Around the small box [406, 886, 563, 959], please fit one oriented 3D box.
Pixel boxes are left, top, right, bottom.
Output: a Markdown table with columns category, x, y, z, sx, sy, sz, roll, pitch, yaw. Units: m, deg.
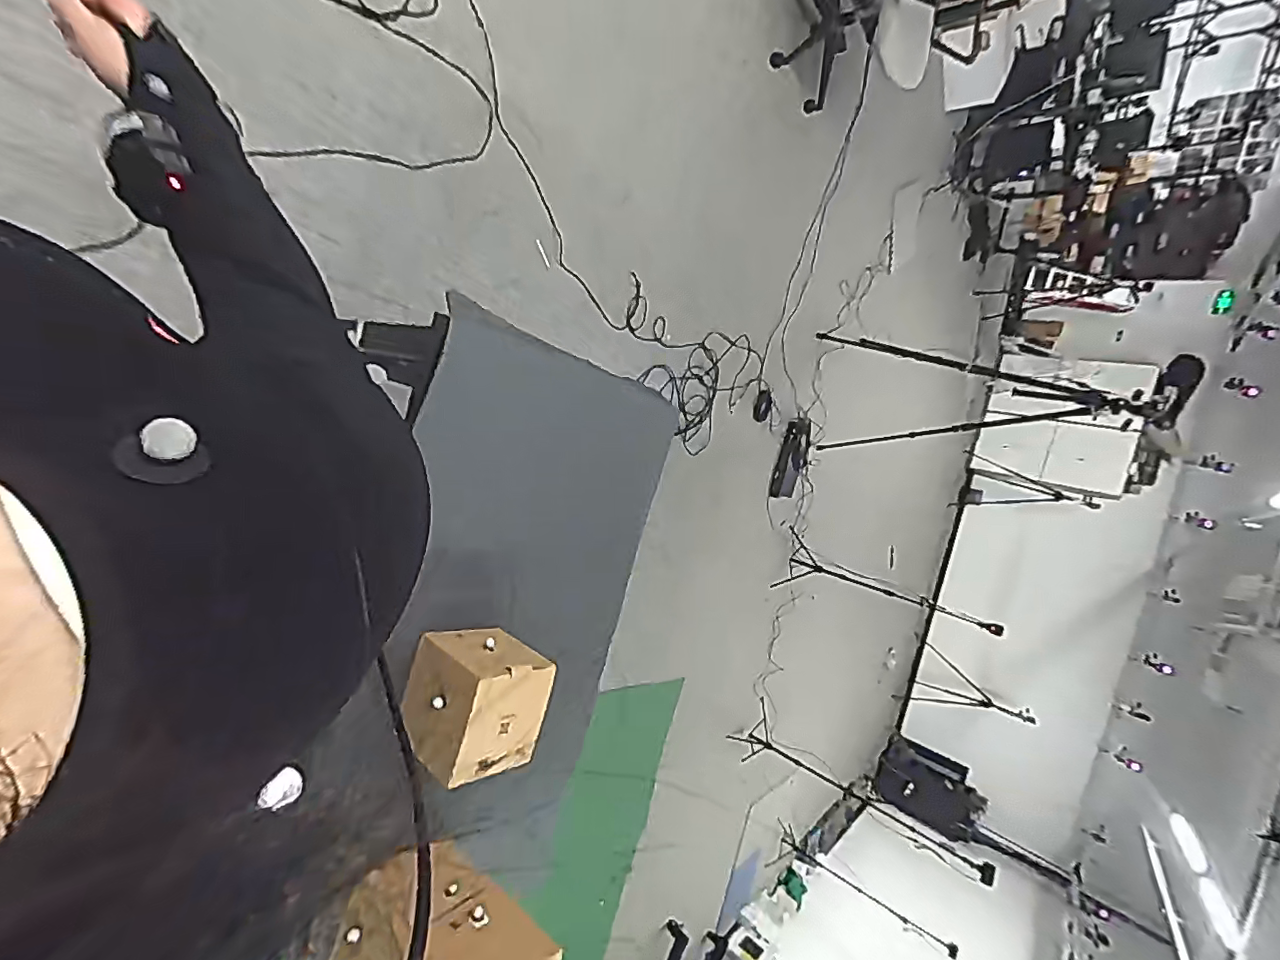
| category | x | y | z | sx | sy | sz | roll | pitch | yaw |
| --- | --- | --- | --- | --- | --- | --- | --- | --- | --- |
| small box | -0.246 | 0.777 | 0.814 | 0.168 | 0.176 | 0.179 | 9 | 94 | -55 |

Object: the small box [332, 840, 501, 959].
| category | x | y | z | sx | sy | sz | roll | pitch | yaw |
| --- | --- | --- | --- | --- | --- | --- | --- | --- | --- |
| small box | -0.375 | 0.752 | 0.910 | 0.179 | 0.176 | 0.168 | 22 | 85 | -53 |

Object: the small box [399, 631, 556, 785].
| category | x | y | z | sx | sy | sz | roll | pitch | yaw |
| --- | --- | --- | --- | --- | --- | --- | --- | --- | --- |
| small box | -0.273 | 0.361 | 0.902 | 0.168 | 0.176 | 0.179 | 16 | 89 | -53 |
